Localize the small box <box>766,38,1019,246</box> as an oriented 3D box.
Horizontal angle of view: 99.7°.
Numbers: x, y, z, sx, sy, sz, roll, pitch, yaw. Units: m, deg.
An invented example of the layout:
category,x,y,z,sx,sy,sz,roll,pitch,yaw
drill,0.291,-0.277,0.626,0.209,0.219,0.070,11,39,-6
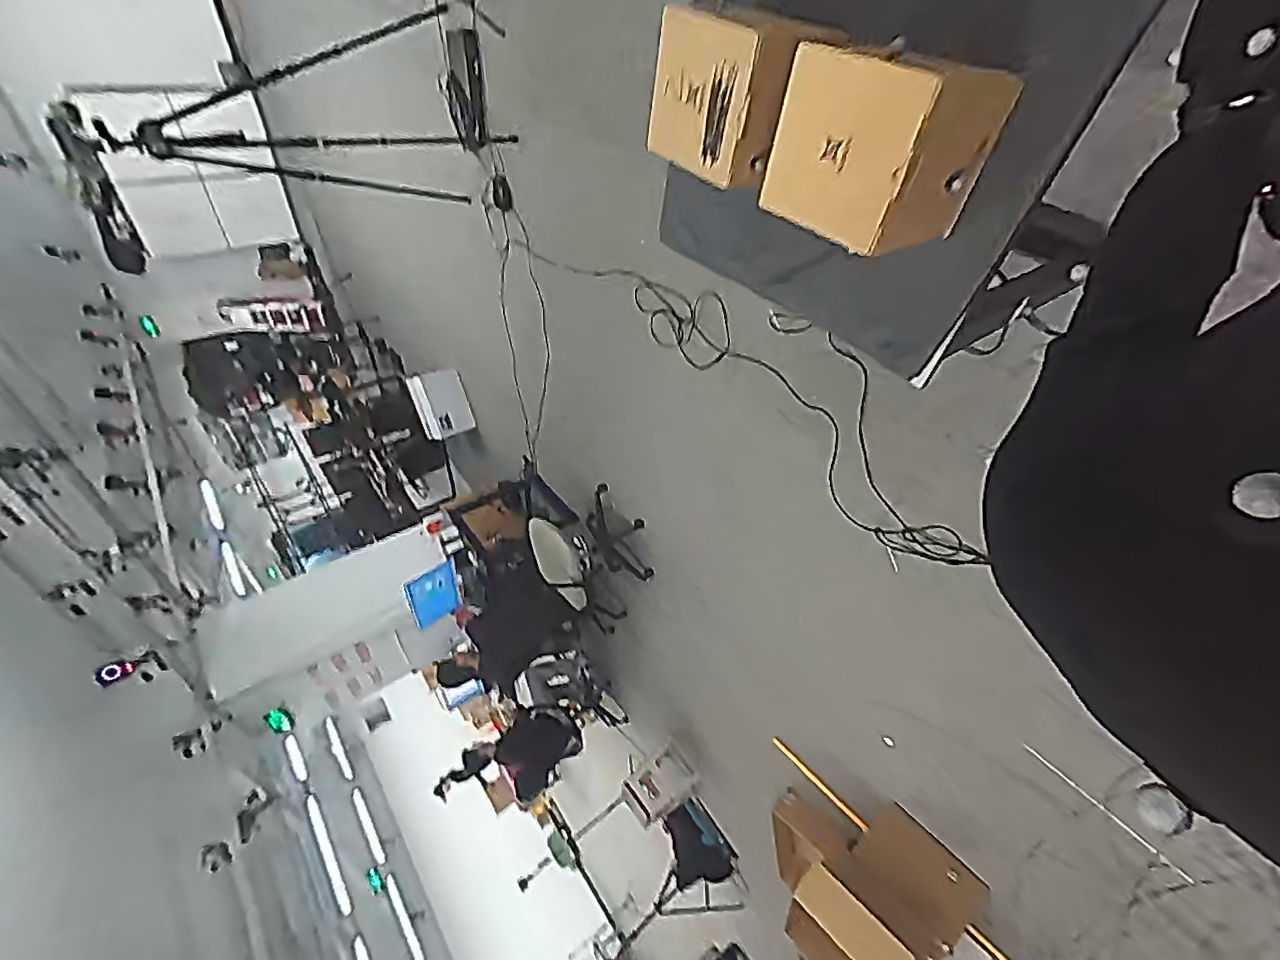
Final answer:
category,x,y,z,sx,sy,sz,roll,pitch,yaw
small box,0.285,-0.396,0.634,0.179,0.176,0.168,45,144,32
